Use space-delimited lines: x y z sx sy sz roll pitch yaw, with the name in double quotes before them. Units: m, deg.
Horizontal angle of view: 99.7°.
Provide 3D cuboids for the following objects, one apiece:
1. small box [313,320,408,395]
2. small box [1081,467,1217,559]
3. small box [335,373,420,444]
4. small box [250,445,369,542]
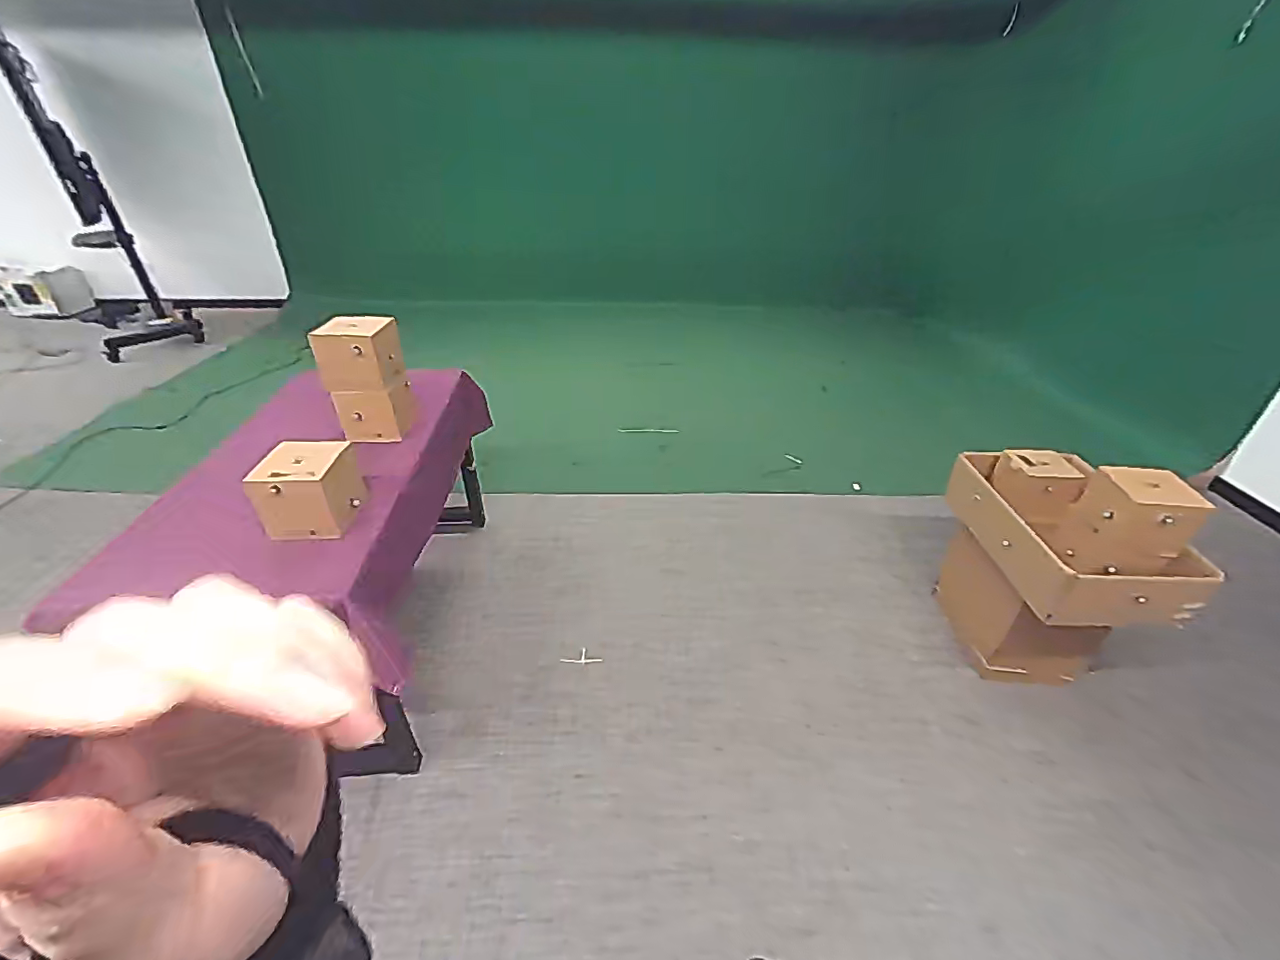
"small box" -0.803 -0.356 1.577 0.179 0.176 0.168 1 33 1
"small box" 1.286 0.086 1.389 0.179 0.176 0.168 5 35 5
"small box" -0.798 -0.219 1.668 0.168 0.176 0.179 0 33 -1
"small box" -0.773 0.029 1.290 0.168 0.176 0.179 -1 33 -1
